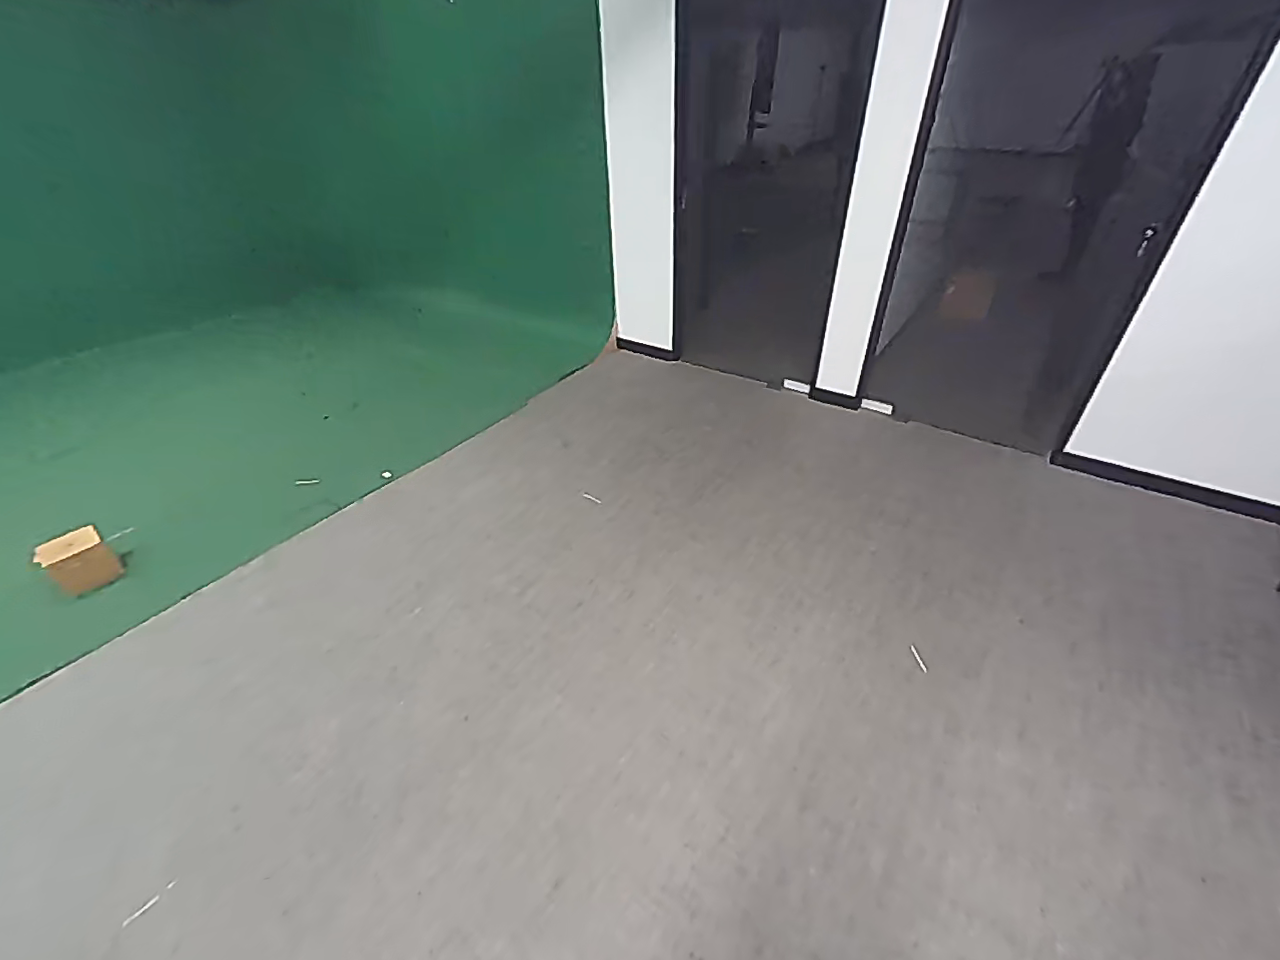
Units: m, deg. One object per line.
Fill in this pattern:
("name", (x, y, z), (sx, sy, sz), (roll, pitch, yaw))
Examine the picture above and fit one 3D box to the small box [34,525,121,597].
("small box", (-2.149, 0.310, 2.077), (0.168, 0.176, 0.179), (26, 45, 31))
